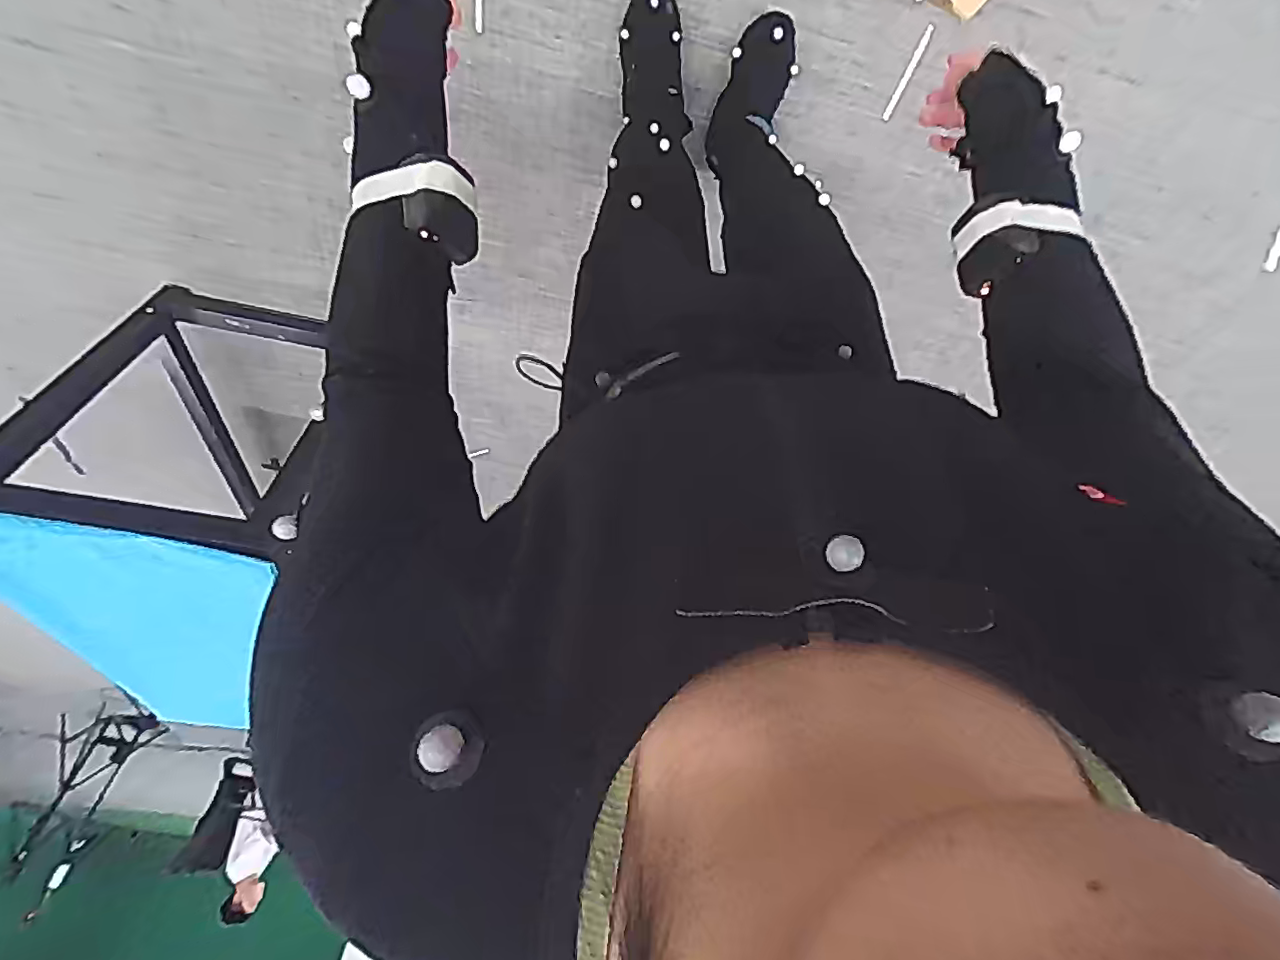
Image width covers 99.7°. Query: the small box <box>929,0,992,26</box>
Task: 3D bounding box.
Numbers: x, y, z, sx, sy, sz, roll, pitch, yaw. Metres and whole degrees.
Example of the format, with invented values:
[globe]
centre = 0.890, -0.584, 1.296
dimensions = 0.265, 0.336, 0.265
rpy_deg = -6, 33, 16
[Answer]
[small box]
centre = 0.423, -0.740, 0.683
dimensions = 0.168, 0.176, 0.179
rpy_deg = 25, 135, -26
